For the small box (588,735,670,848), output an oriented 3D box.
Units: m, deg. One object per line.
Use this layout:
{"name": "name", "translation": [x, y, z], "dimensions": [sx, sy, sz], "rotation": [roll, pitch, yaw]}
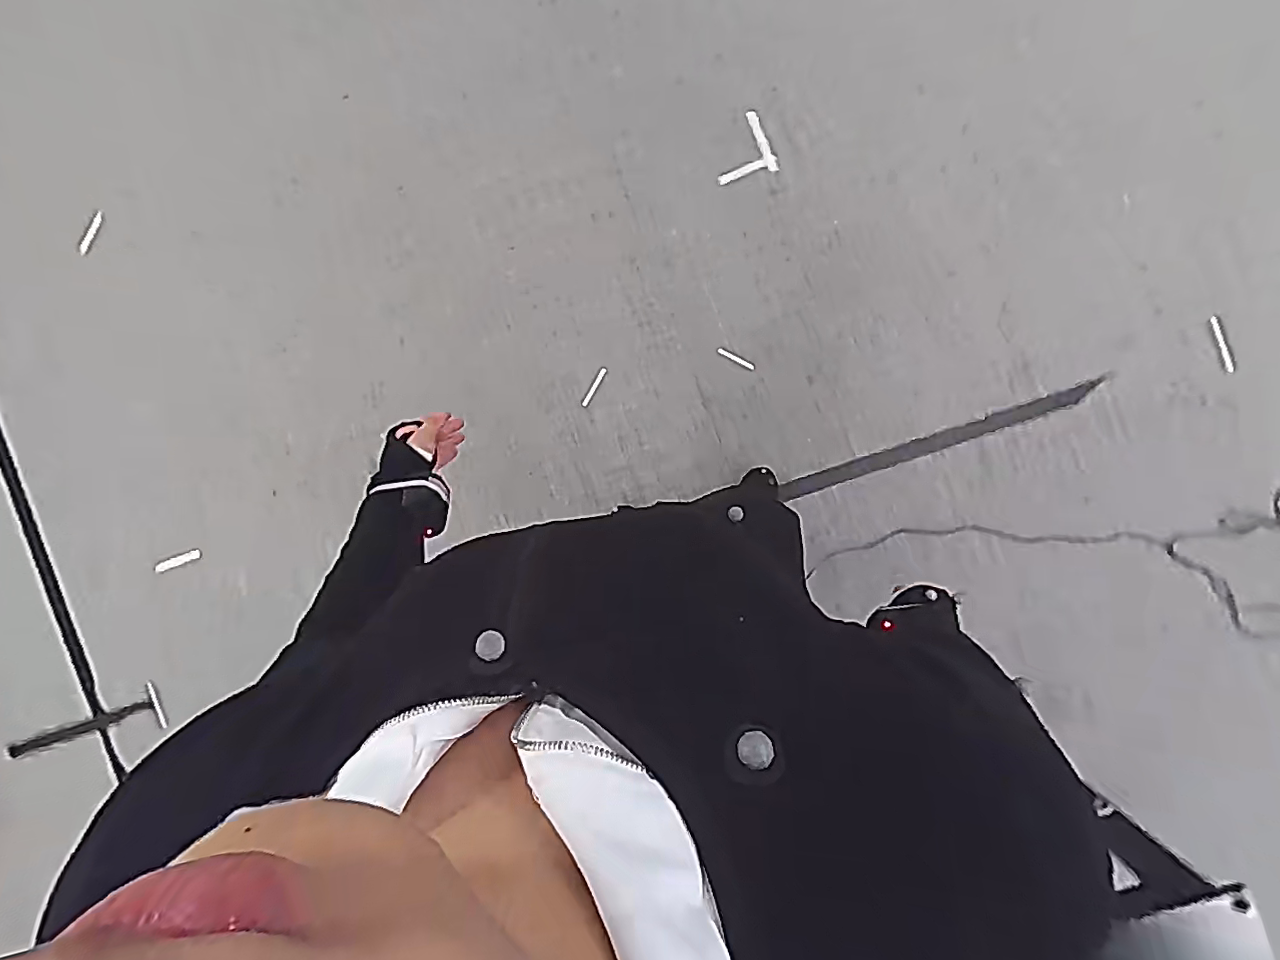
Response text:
{"name": "small box", "translation": [-0.020, 0.821, 1.438], "dimensions": [0.168, 0.176, 0.179], "rotation": [-21, 90, 4]}
